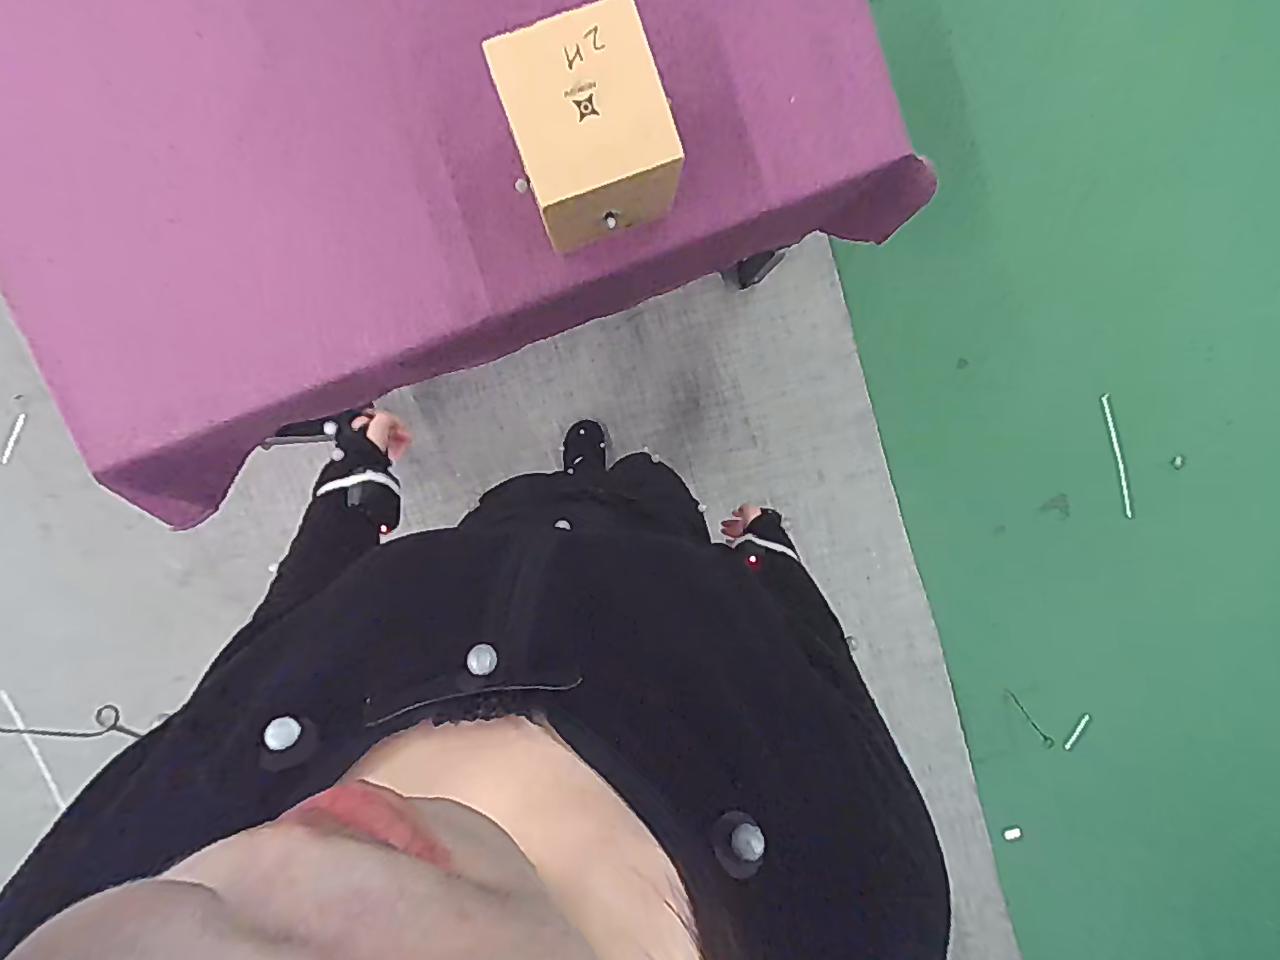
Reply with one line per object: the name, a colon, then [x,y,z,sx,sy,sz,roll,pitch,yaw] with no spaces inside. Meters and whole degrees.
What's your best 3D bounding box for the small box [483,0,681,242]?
small box: [-0.061,-0.406,0.642,0.168,0.176,0.179,-20,97,-1]
